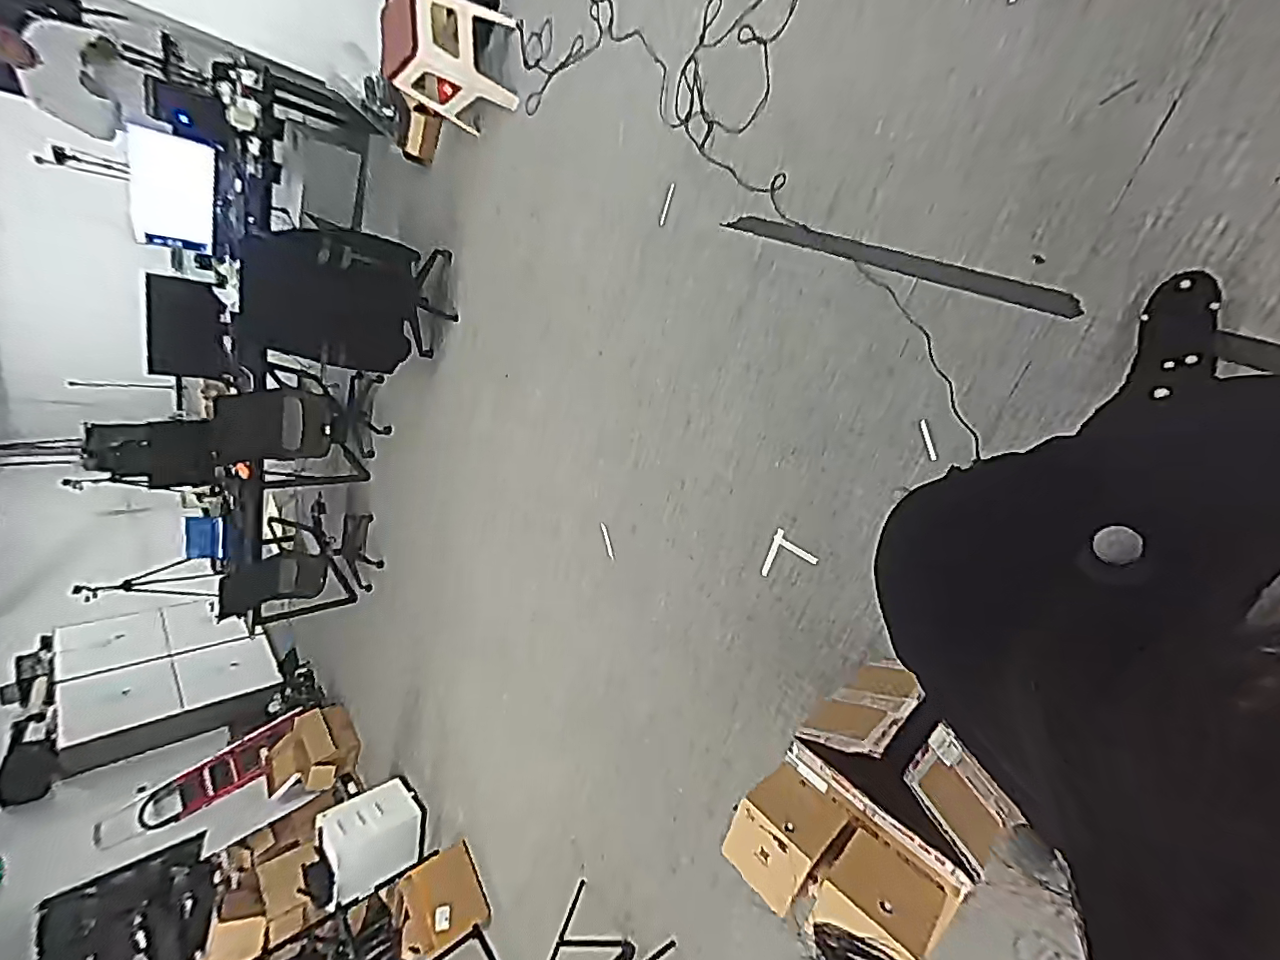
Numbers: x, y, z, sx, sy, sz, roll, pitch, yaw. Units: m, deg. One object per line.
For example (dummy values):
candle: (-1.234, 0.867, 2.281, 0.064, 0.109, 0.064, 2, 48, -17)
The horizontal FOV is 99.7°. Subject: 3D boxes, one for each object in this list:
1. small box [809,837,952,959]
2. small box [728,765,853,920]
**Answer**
small box: (0.452, 0.826, 1.012, 0.179, 0.176, 0.168, 26, 114, 38)
small box: (0.317, 0.751, 1.136, 0.168, 0.176, 0.179, 32, 118, 40)
